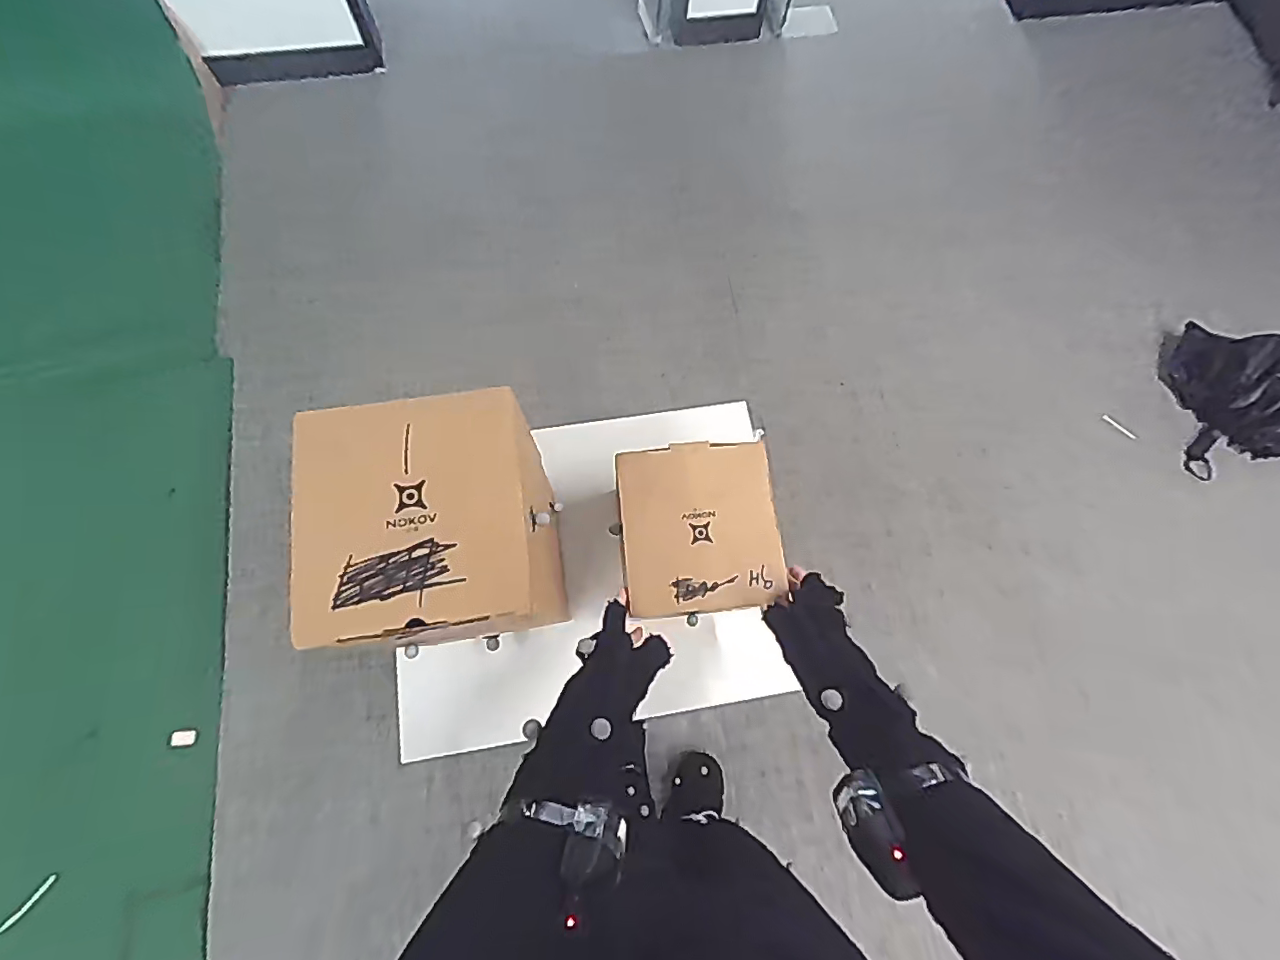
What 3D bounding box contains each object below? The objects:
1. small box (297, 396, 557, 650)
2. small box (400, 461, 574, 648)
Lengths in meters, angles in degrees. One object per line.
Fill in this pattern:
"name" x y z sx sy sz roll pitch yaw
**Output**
"small box" -0.171 0.047 0.479 0.168 0.176 0.179 -8 73 -4
"small box" -0.176 0.094 0.637 0.168 0.176 0.179 -10 76 -4
